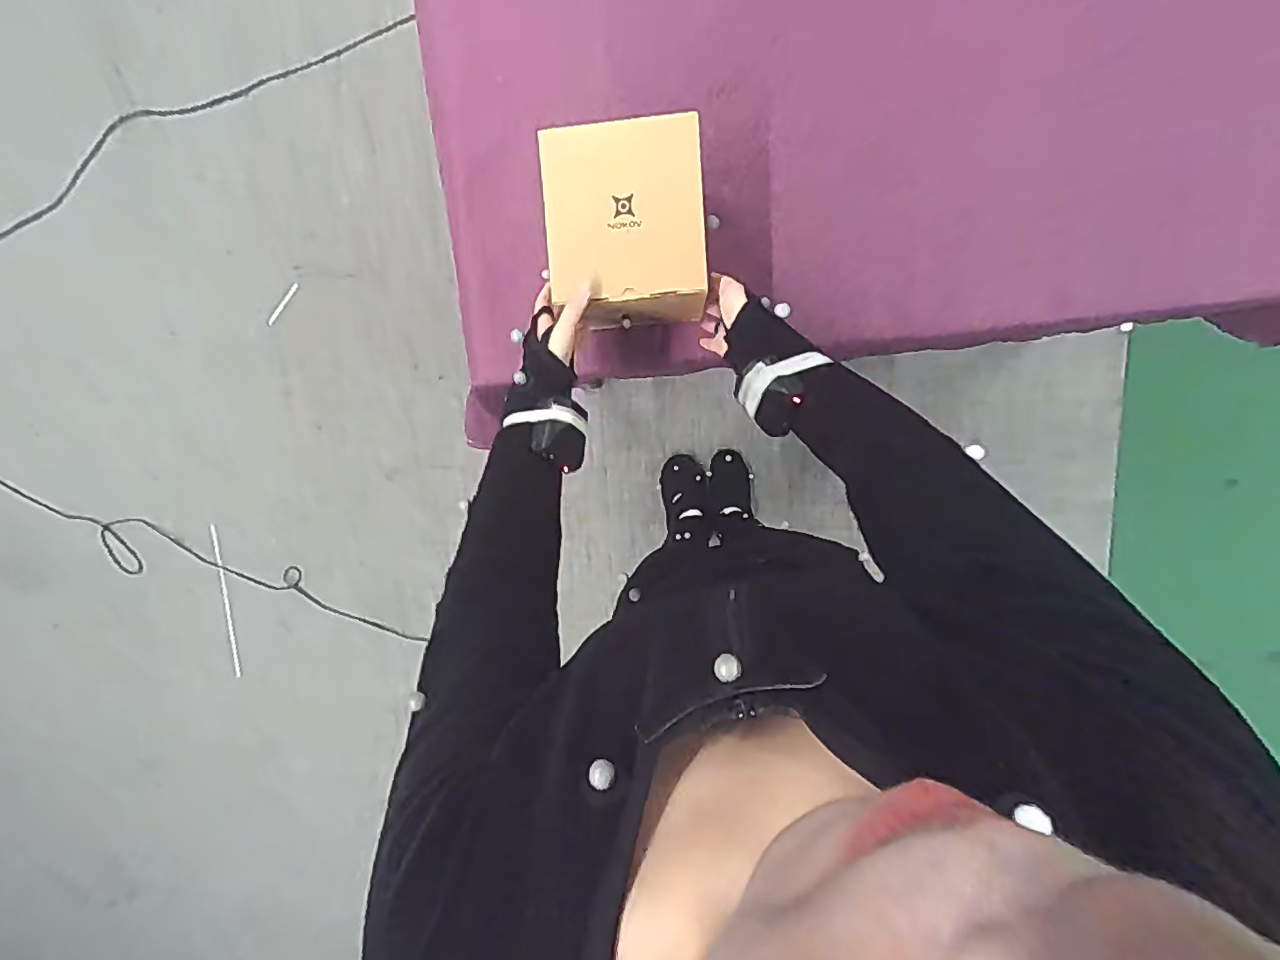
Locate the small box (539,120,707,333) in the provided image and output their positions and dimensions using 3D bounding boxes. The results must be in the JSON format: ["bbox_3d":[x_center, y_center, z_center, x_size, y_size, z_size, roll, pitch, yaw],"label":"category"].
[{"bbox_3d":[-0.013,-0.280,0.637,0.168,0.176,0.179,-5,98,4],"label":"small box"}]
